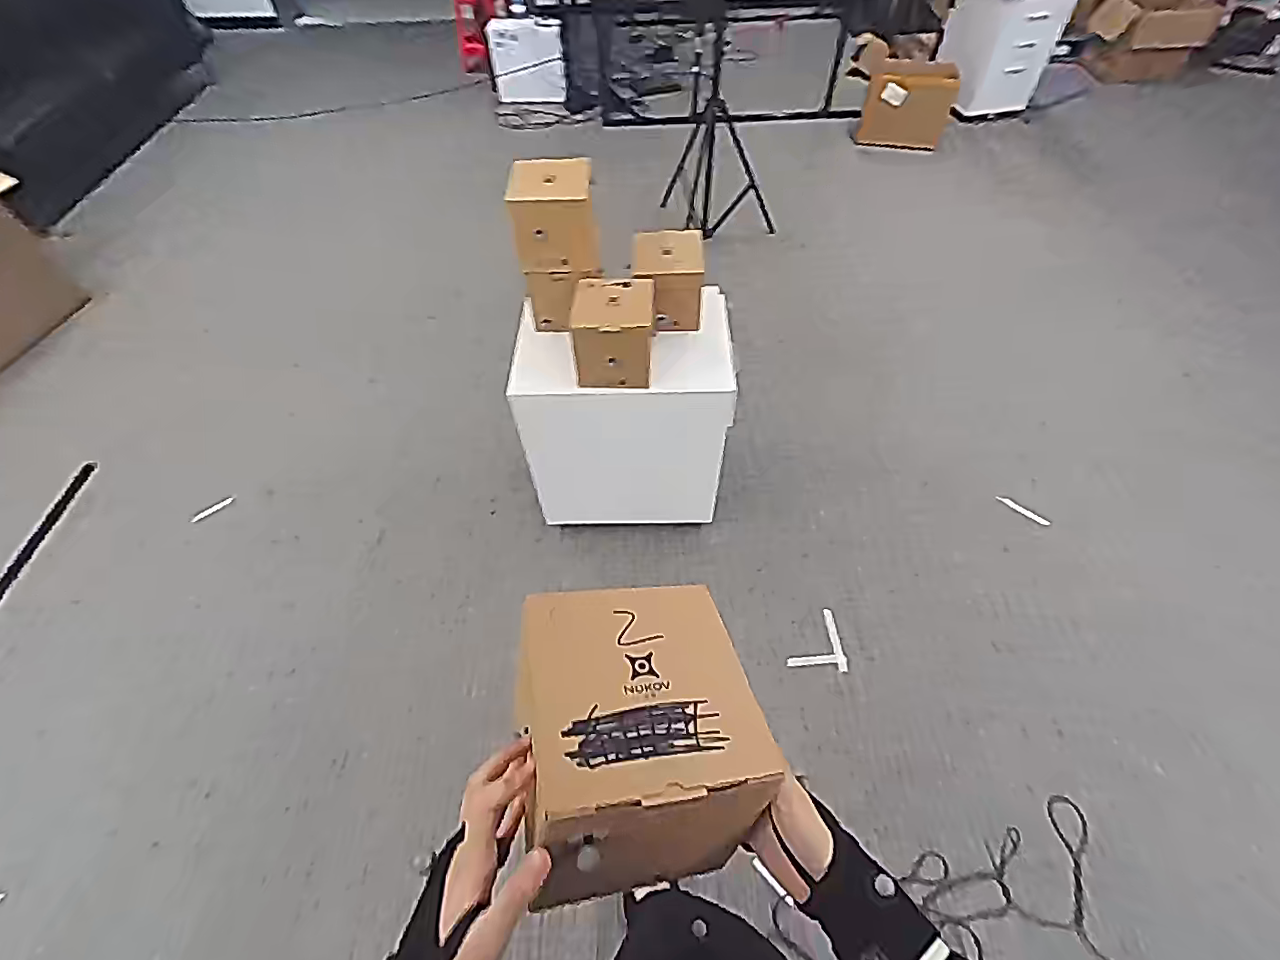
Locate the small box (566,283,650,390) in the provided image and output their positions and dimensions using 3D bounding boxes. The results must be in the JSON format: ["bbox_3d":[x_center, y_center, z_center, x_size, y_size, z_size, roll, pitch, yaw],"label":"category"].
[{"bbox_3d":[-0.064,-0.315,1.203,0.168,0.176,0.179,1,54,2],"label":"small box"}]

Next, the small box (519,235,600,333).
[{"bbox_3d":[-0.187,-0.475,1.322,0.168,0.176,0.179,0,53,1],"label":"small box"}]

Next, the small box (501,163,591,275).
[{"bbox_3d":[-0.198,-0.568,1.190,0.168,0.176,0.179,-2,54,-1],"label":"small box"}]

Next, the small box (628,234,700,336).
[{"bbox_3d":[0.057,-0.473,1.318,0.168,0.176,0.179,-2,55,3],"label":"small box"}]
